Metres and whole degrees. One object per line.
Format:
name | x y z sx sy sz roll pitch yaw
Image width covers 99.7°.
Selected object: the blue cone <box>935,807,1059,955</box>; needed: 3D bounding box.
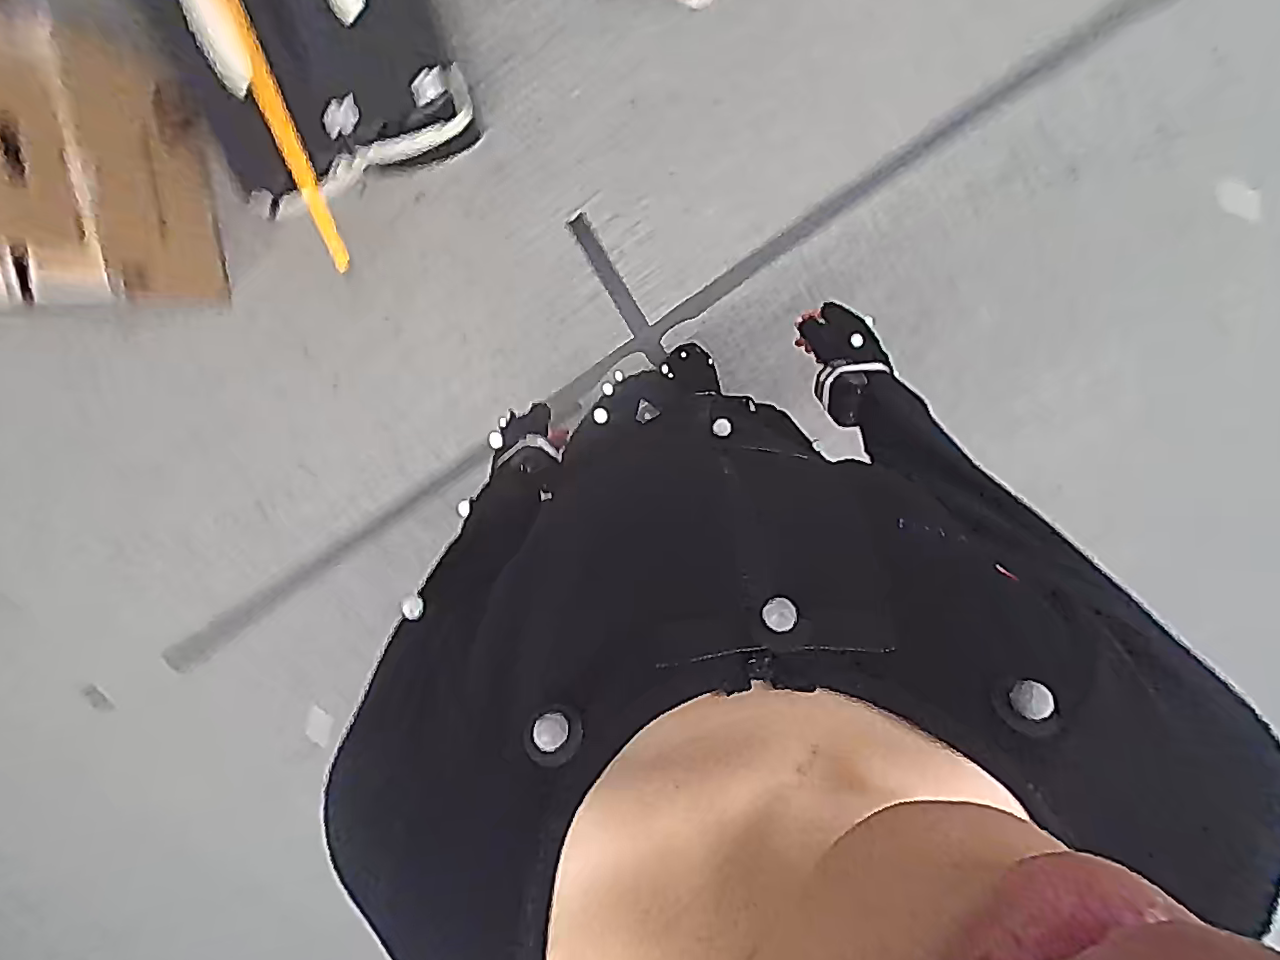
blue cone | 1.086 1.215 1.618 0.192 0.380 0.193 -36 102 7
